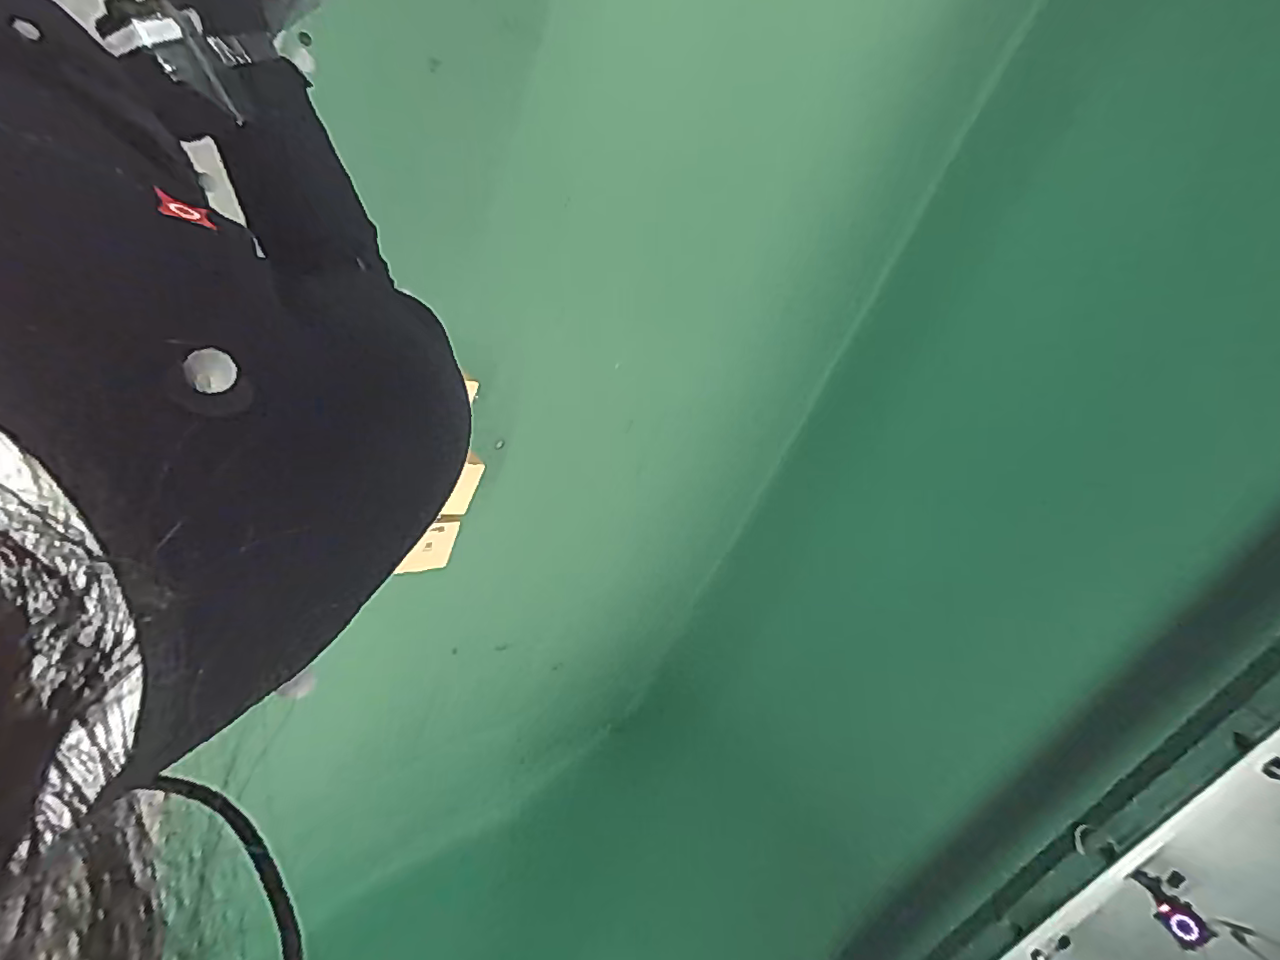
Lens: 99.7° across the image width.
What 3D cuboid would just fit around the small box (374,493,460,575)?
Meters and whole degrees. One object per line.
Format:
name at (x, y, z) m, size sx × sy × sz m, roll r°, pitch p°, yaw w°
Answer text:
small box at (-0.679, 0.158, 1.631) m, size 0.168 × 0.176 × 0.179 m, roll -1°, pitch 123°, yaw -50°

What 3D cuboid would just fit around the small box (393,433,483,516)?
small box at (-0.593, -0.013, 1.570) m, size 0.168 × 0.176 × 0.179 m, roll 7°, pitch 115°, yaw -52°
